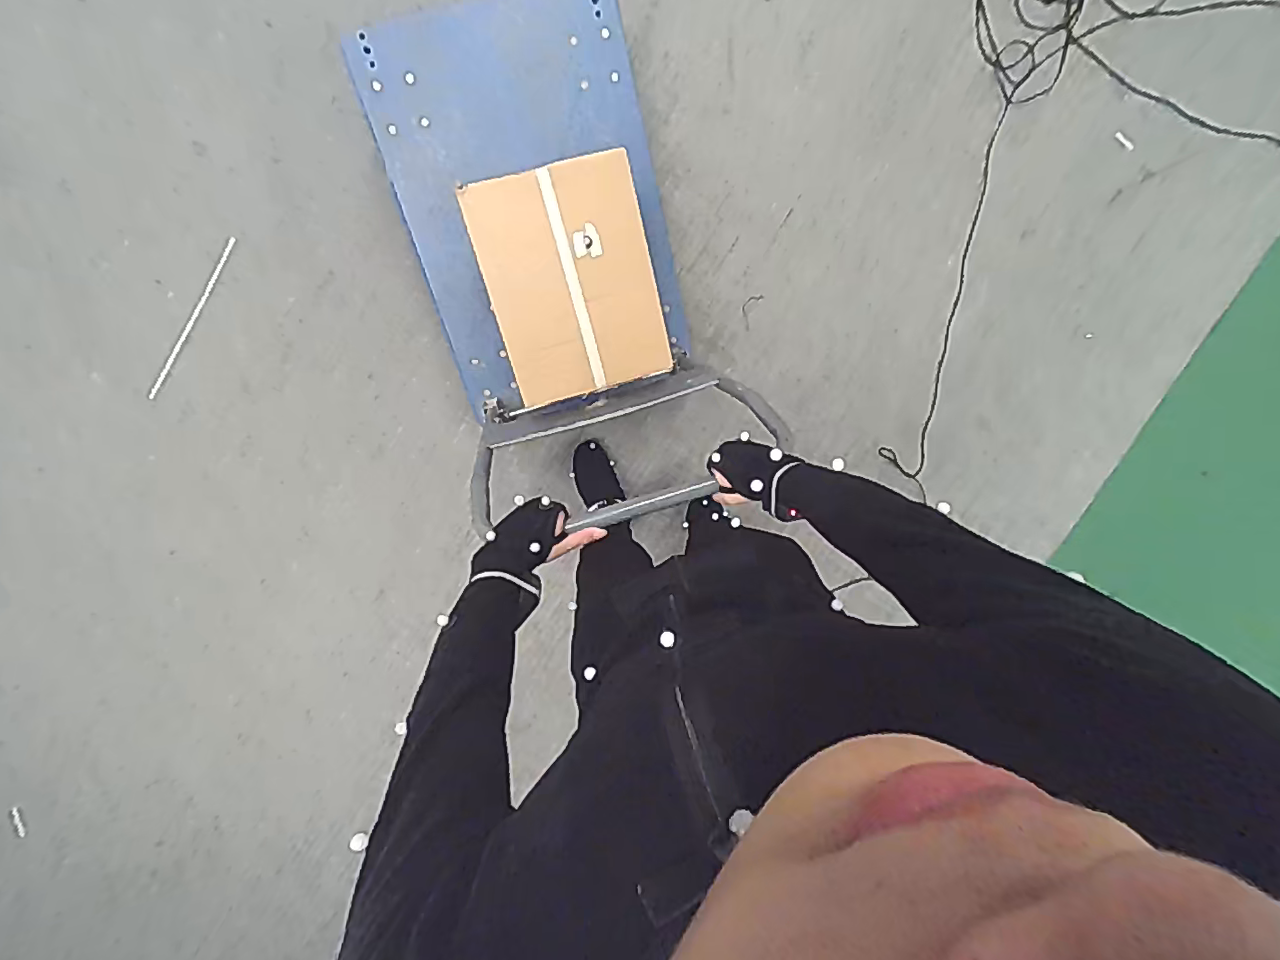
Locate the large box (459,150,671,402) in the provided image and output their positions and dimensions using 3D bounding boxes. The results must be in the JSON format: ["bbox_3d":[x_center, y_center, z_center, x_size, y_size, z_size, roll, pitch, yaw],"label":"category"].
[{"bbox_3d":[-0.151,-0.423,1.175,0.320,0.320,0.408,-16,110,-5],"label":"large box"}]
